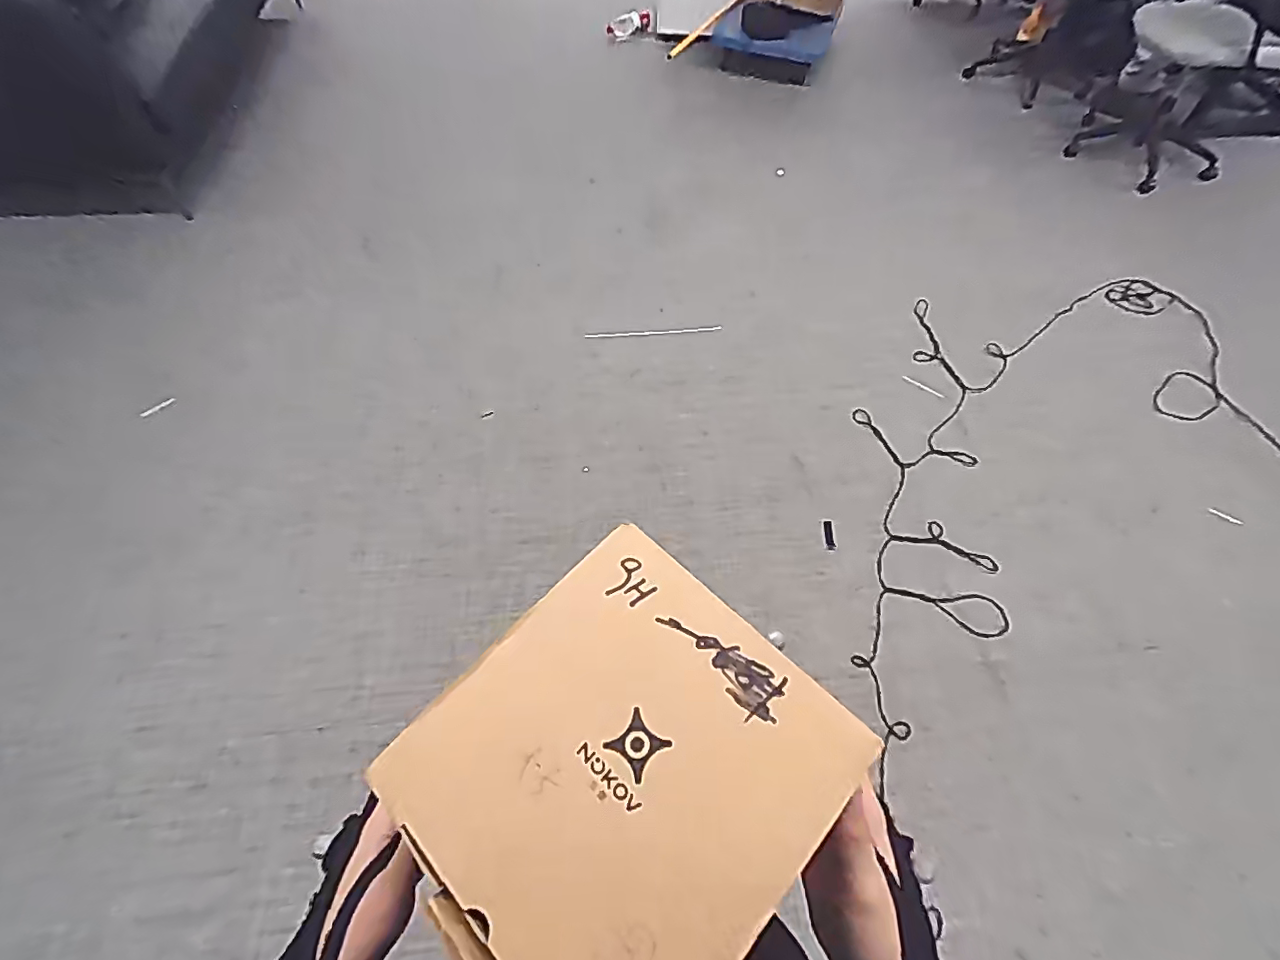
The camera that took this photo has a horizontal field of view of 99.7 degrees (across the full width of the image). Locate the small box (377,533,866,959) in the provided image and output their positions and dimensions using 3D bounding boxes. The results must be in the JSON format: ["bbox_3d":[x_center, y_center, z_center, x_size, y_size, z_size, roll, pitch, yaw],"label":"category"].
[{"bbox_3d":[-0.005,0.170,0.323,0.168,0.176,0.179,39,71,20],"label":"small box"}]
